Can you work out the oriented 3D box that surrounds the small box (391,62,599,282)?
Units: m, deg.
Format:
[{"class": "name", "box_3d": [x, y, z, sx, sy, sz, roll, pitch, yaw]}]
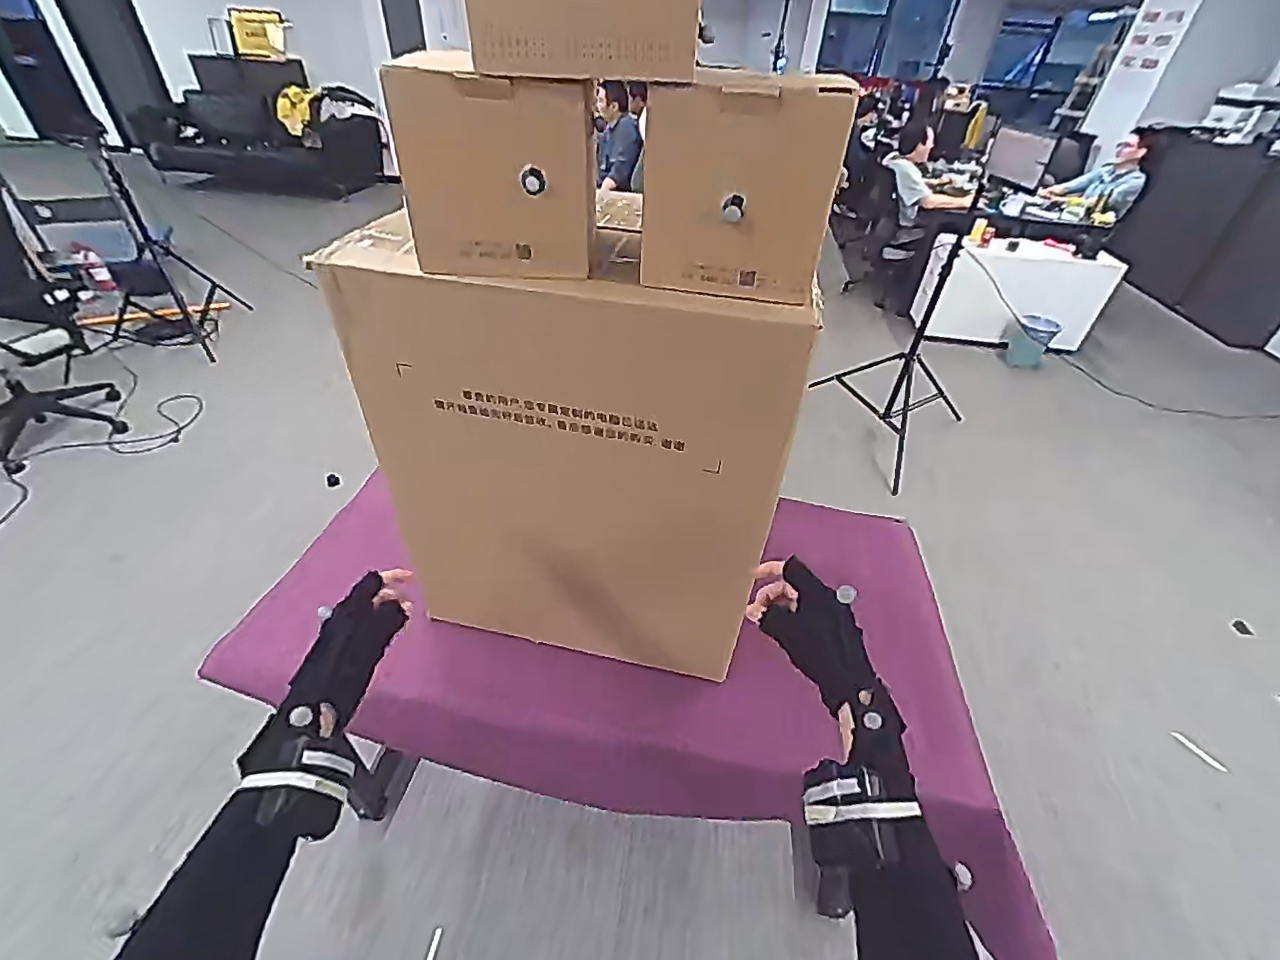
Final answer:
[{"class": "small box", "box_3d": [-0.128, -0.316, 0.556, 0.168, 0.176, 0.179, 2, 39, -4]}]

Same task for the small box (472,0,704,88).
[{"class": "small box", "box_3d": [-0.033, -0.425, 0.435, 0.179, 0.176, 0.168, 3, 41, 2]}]

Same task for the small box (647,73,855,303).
[{"class": "small box", "box_3d": [0.103, -0.293, 0.540, 0.168, 0.176, 0.179, 10, 41, 8]}]
